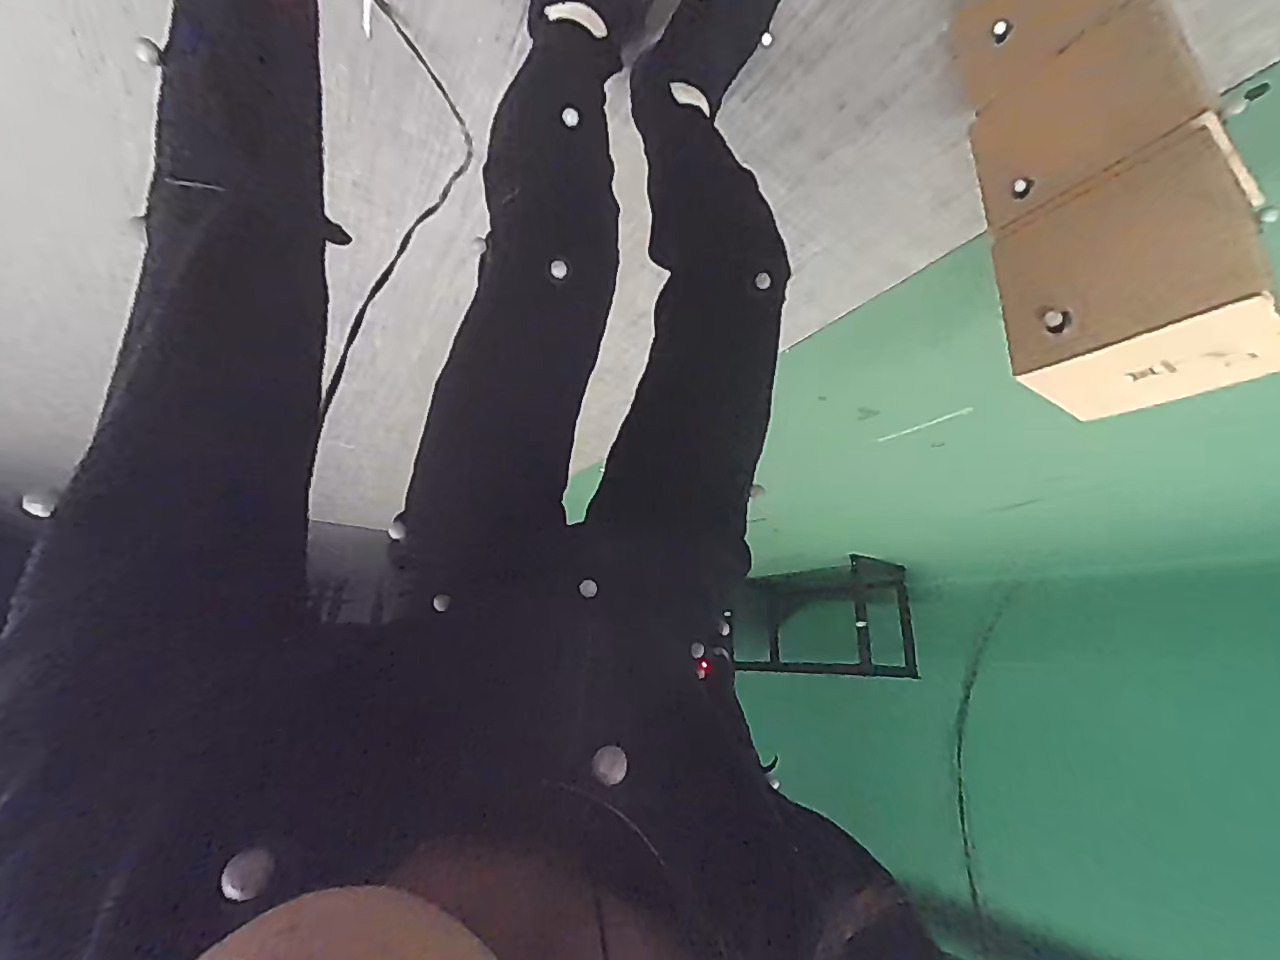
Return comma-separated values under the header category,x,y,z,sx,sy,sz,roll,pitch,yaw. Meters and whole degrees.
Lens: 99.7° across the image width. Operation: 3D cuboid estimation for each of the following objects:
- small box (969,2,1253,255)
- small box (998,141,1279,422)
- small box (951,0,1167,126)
category,x,y,z,sx,sy,sz,roll,pitch,yaw
small box,0.492,-0.342,0.584,0.168,0.176,0.179,14,159,-30
small box,0.491,-0.182,0.544,0.168,0.176,0.179,14,158,-31
small box,0.495,-0.496,0.634,0.179,0.176,0.168,15,157,-32
